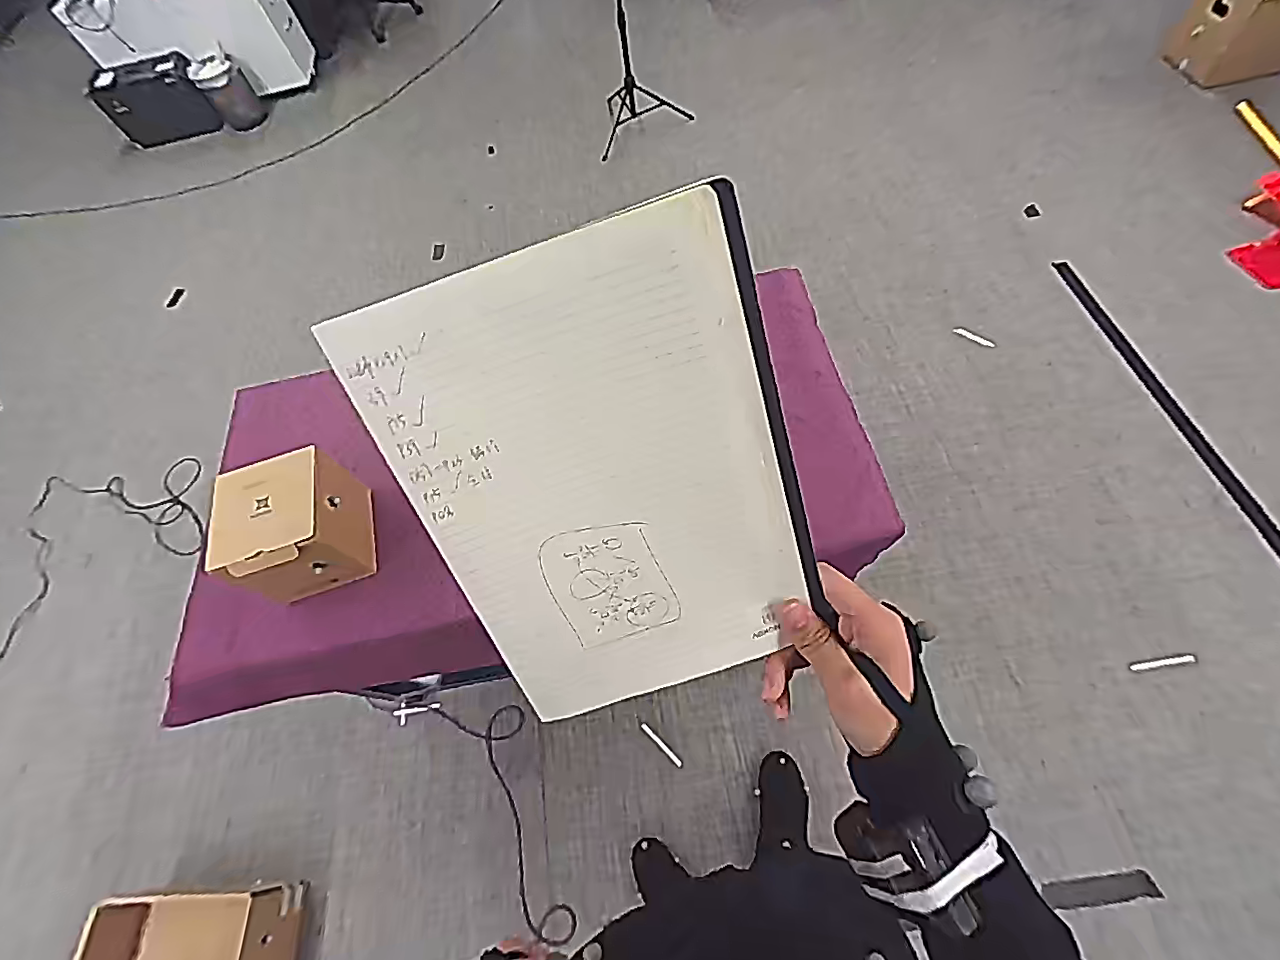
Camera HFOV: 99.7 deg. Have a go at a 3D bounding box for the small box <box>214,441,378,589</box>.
[{"bbox_3d":[-0.559,0.069,0.902,0.168,0.176,0.179,-18,61,-2],"label":"small box"}]
